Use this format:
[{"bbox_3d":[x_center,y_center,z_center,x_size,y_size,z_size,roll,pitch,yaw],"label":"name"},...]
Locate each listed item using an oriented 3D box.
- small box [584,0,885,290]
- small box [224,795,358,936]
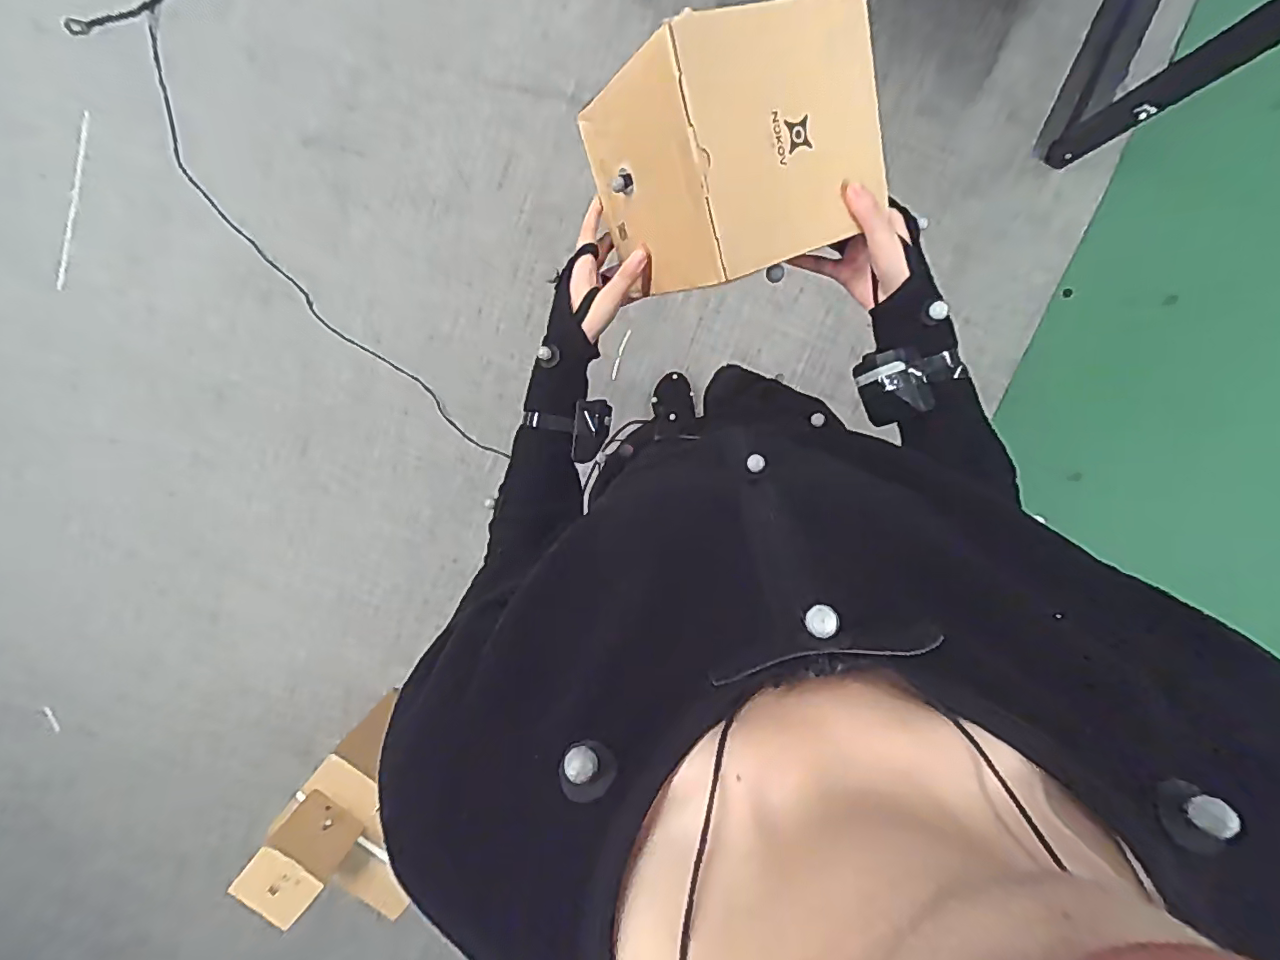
[{"bbox_3d":[0.076,-0.274,0.467,0.179,0.176,0.168,-25,113,-18],"label":"small box"},{"bbox_3d":[-0.815,0.904,1.282,0.168,0.176,0.179,40,100,-4],"label":"small box"}]
